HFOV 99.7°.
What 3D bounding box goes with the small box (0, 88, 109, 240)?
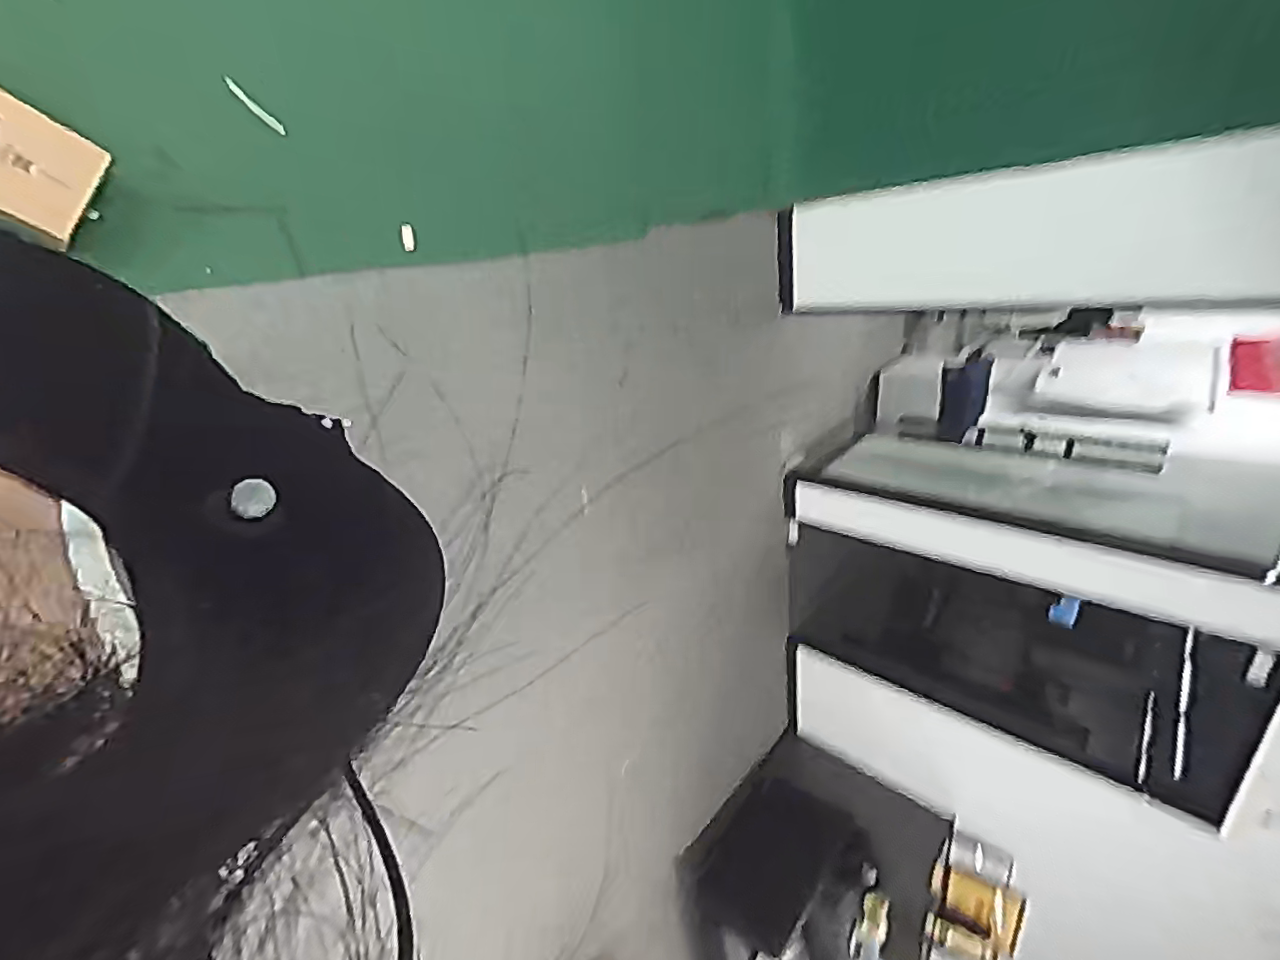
[{"bbox_3d":[-1.023,-0.514,0.879,0.179,0.176,0.168,30,79,-49],"label":"small box"}]
